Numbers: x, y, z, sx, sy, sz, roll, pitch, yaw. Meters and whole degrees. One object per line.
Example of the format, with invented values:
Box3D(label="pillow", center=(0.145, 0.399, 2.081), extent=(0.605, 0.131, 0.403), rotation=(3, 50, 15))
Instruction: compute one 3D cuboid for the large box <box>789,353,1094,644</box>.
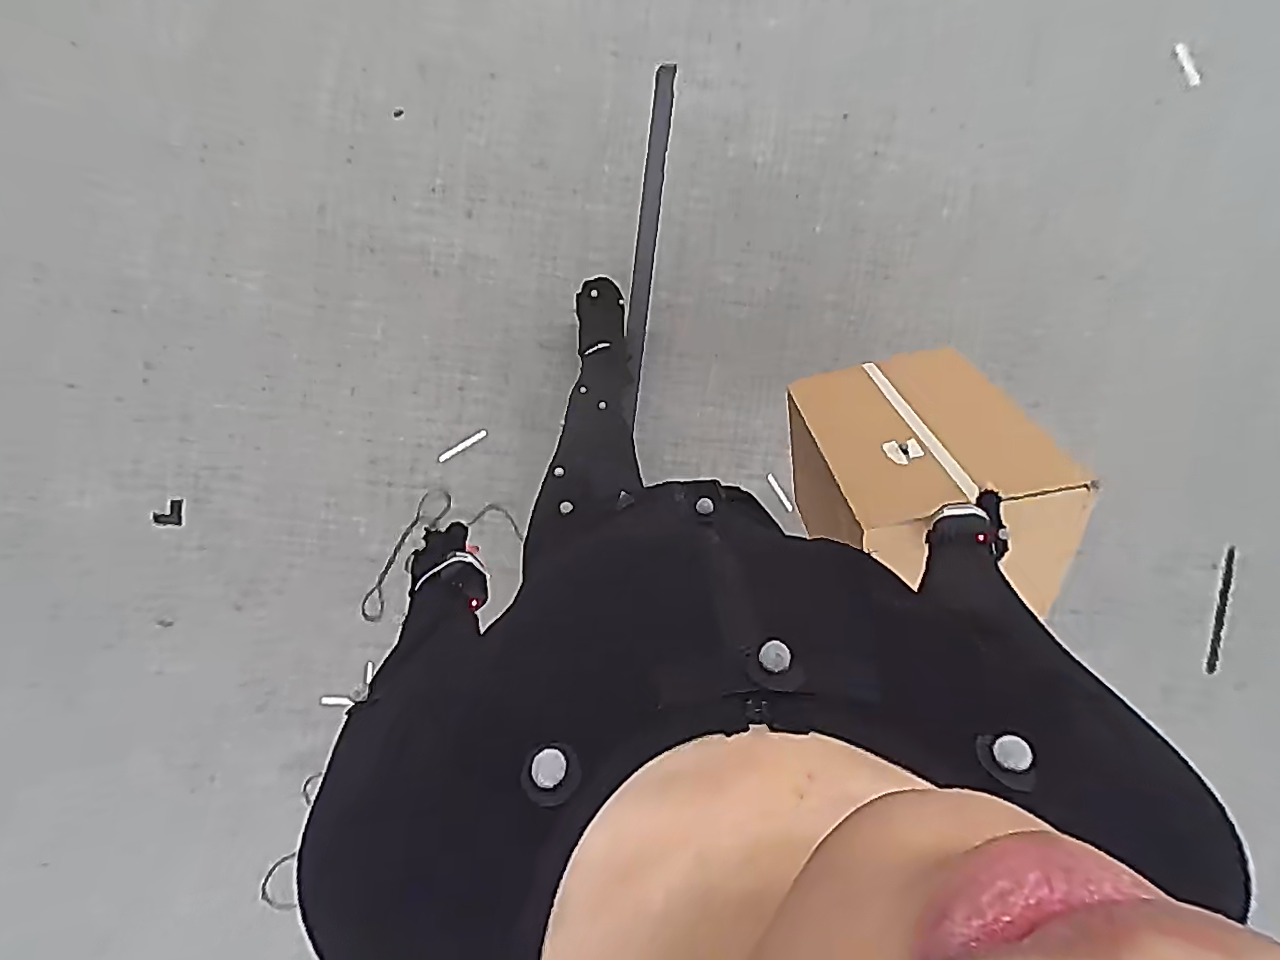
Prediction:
Box3D(label="large box", center=(0.484, 0.024, 0.989), extent=(0.320, 0.408, 0.320), rotation=(-13, 131, 6))
